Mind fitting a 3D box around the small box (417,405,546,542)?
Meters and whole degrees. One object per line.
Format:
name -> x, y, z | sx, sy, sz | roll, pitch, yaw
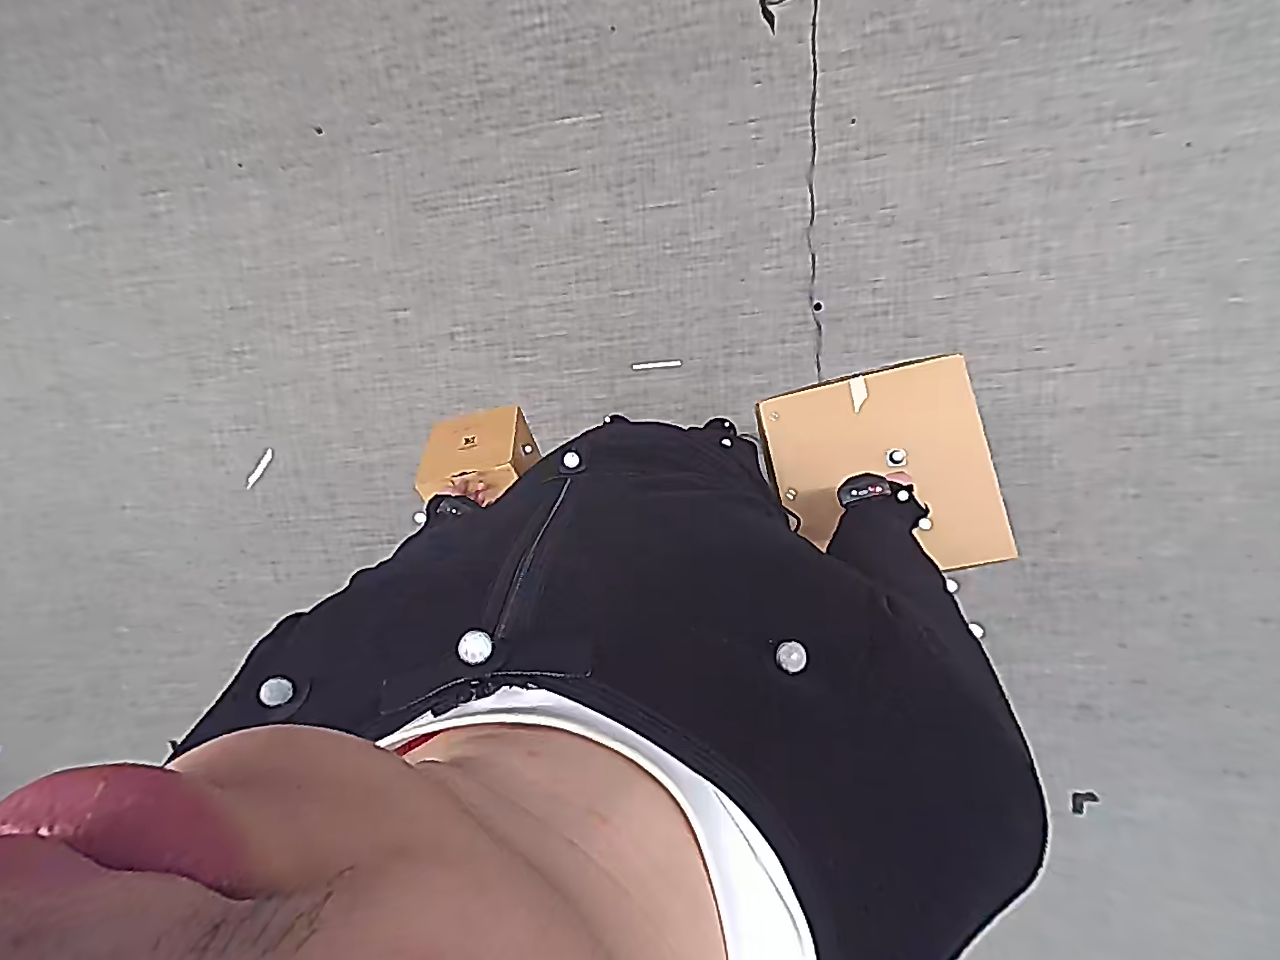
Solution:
small box -> -0.277, -0.005, 0.990 | 0.168, 0.179, 0.176 | -14, 131, 4
